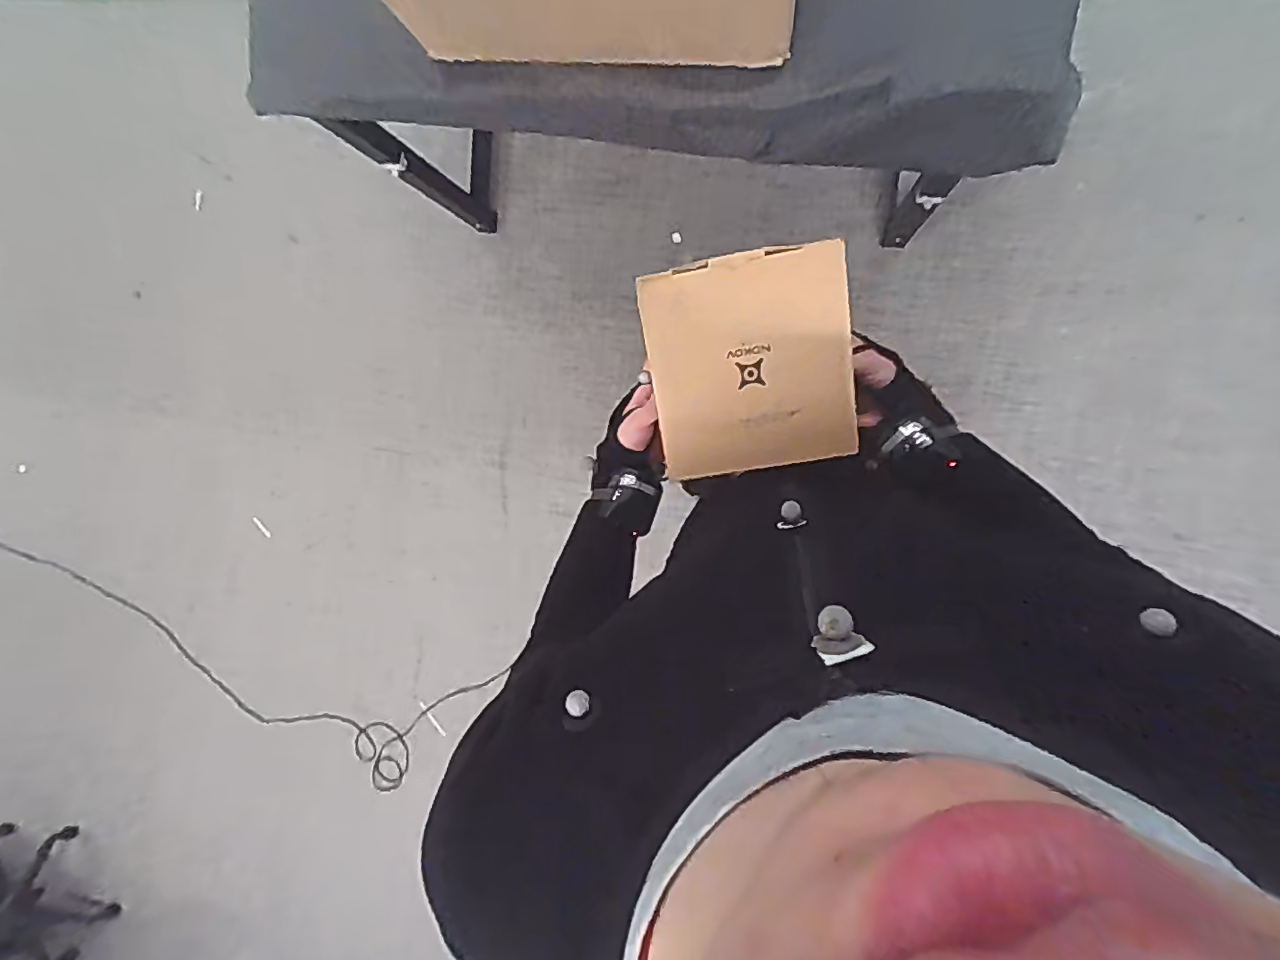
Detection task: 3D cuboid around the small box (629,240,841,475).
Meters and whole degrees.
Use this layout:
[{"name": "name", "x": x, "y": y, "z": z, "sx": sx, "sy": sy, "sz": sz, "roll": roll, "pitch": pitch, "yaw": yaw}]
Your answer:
[{"name": "small box", "x": 0.087, "y": -0.119, "z": 0.525, "sx": 0.168, "sy": 0.176, "sz": 0.179, "roll": -7, "pitch": 108, "yaw": 8}]
